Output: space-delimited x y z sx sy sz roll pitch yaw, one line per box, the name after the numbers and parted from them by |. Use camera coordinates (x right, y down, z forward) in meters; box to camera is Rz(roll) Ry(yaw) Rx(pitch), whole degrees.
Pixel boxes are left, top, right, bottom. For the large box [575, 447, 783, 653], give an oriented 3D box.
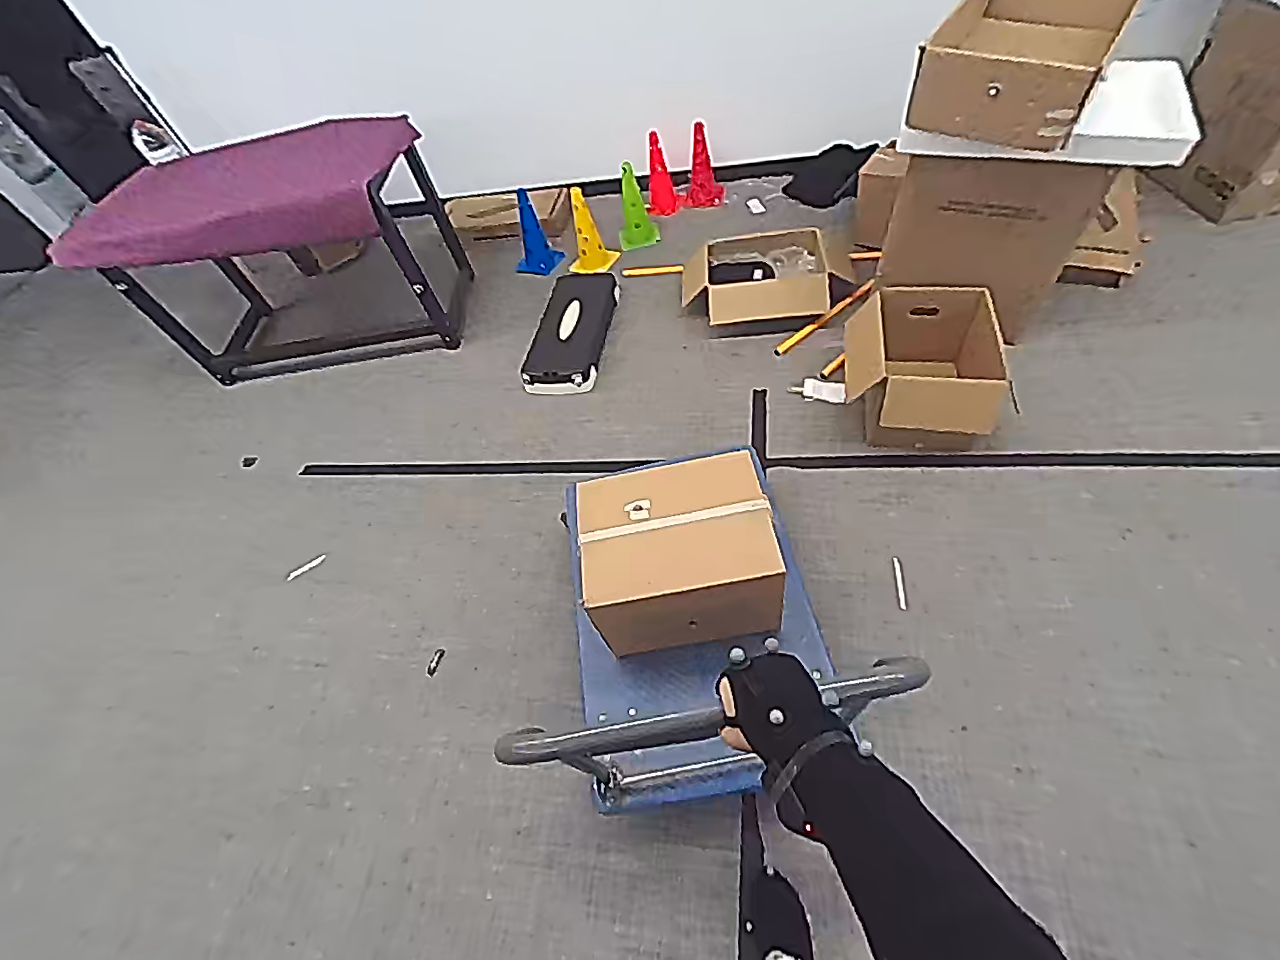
0.092 0.173 1.258 0.408 0.320 0.320 -12 52 5 | large box
